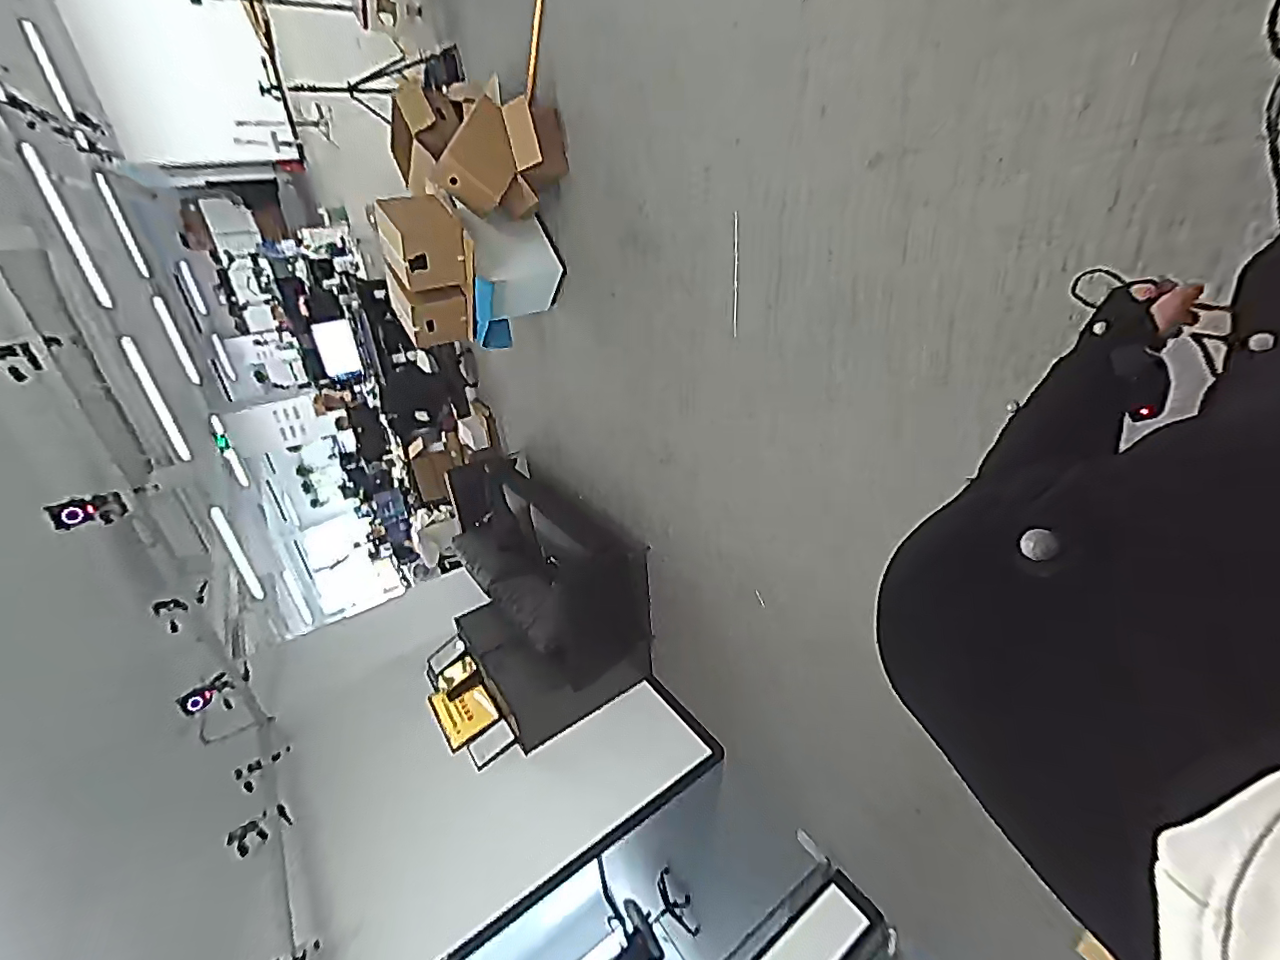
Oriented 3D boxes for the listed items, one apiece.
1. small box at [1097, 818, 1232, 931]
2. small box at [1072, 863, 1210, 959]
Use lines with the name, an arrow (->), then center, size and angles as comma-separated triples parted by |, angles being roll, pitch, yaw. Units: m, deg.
small box -> 1.273, 0.978, 1.313 | 0.168, 0.176, 0.179 | 35, 137, 44
small box -> 1.141, 1.030, 1.231 | 0.168, 0.176, 0.179 | 33, 137, 46
